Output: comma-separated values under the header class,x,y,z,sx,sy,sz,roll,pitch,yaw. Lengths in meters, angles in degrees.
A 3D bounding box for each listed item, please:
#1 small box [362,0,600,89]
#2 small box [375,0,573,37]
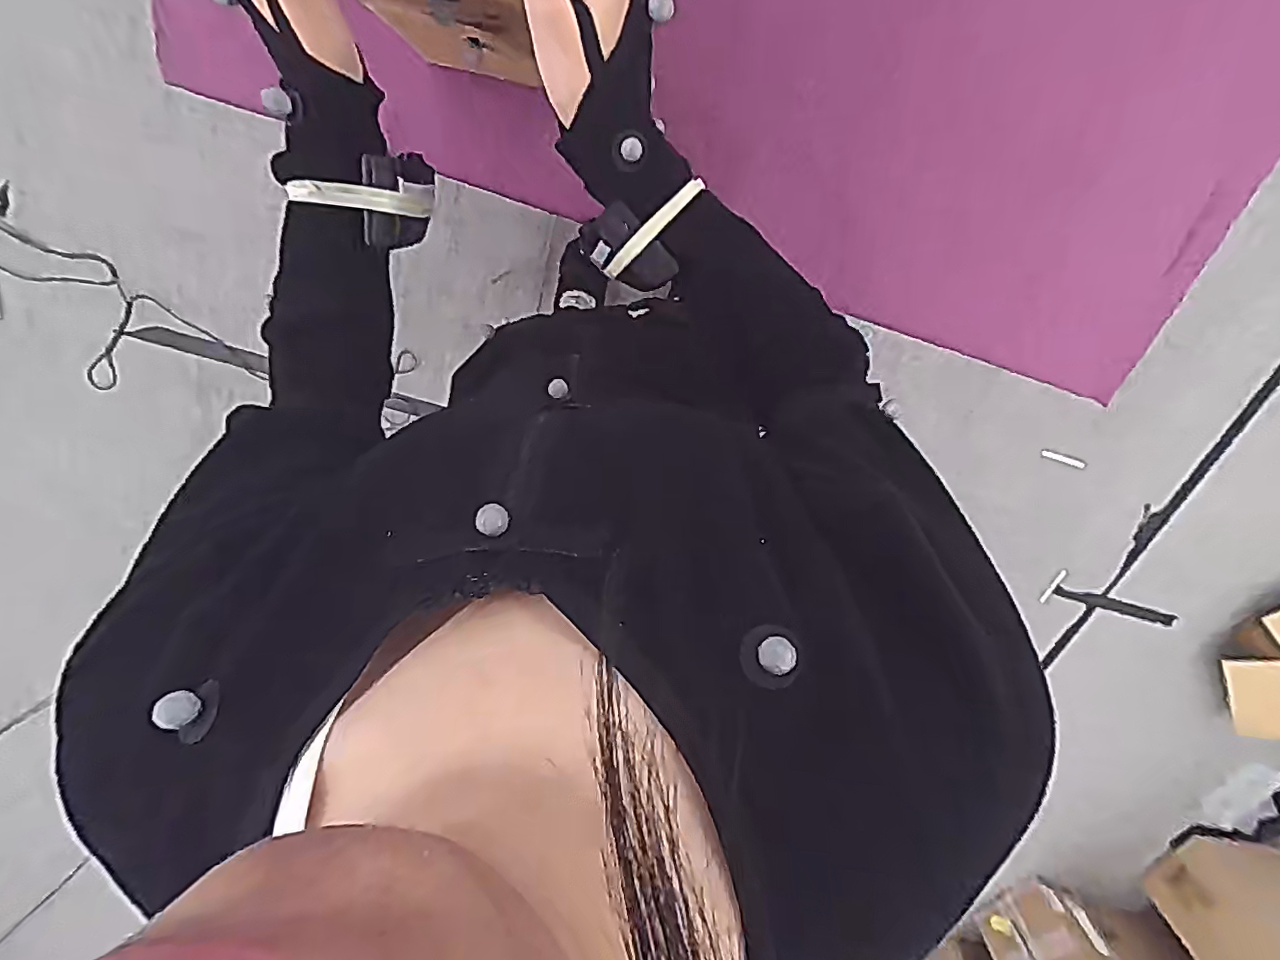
class,x,y,z,sx,sy,sz,roll,pitch,yaw
small box,-0.120,-0.462,0.465,0.179,0.176,0.168,9,115,-7
small box,-0.120,-0.401,0.312,0.168,0.176,0.179,7,116,-5
